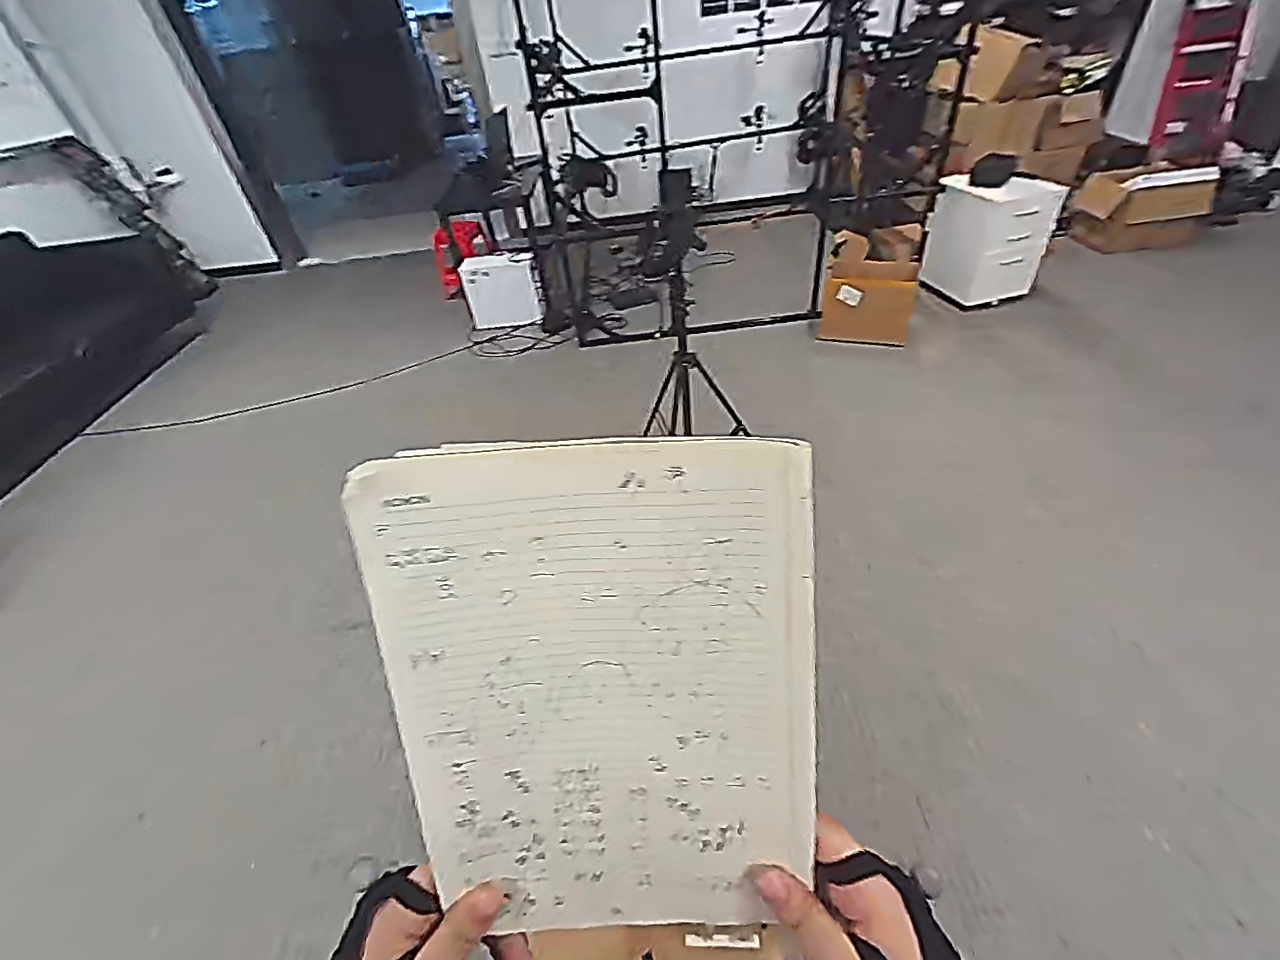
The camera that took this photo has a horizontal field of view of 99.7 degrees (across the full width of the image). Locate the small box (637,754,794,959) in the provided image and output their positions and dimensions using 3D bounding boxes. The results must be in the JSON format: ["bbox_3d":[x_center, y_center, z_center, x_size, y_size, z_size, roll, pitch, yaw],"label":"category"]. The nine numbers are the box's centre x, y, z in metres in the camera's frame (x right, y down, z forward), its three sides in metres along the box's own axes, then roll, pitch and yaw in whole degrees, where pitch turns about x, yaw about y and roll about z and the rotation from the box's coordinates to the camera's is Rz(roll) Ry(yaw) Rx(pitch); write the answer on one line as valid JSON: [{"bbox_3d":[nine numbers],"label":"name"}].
[{"bbox_3d":[0.087,0.468,0.672,0.168,0.176,0.179,0,43,5],"label":"small box"}]
